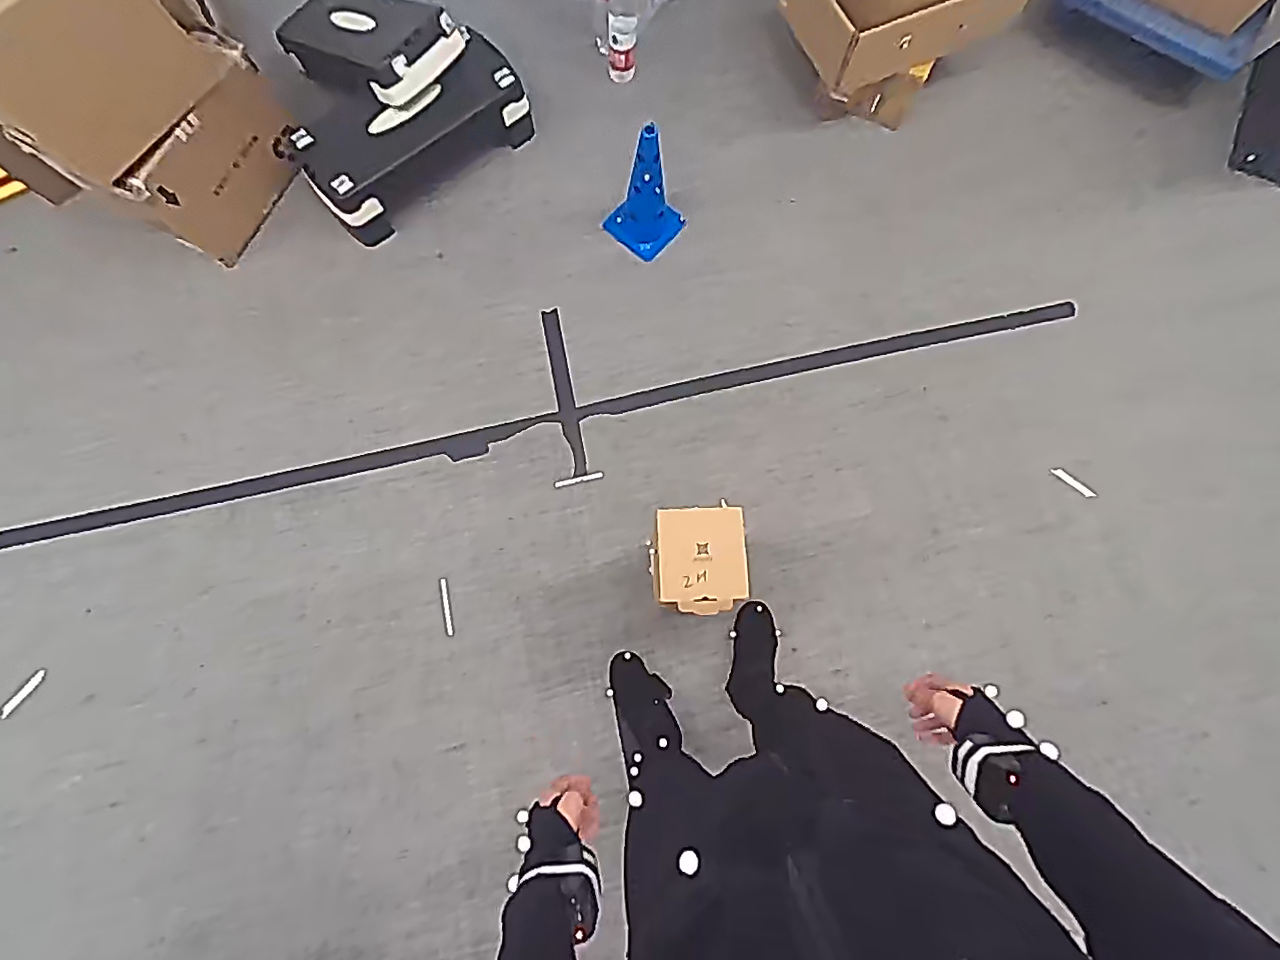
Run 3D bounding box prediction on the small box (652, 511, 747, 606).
[{"bbox_3d":[0.112,0.162,1.087,0.168,0.176,0.179,-2,78,-2],"label":"small box"}]
